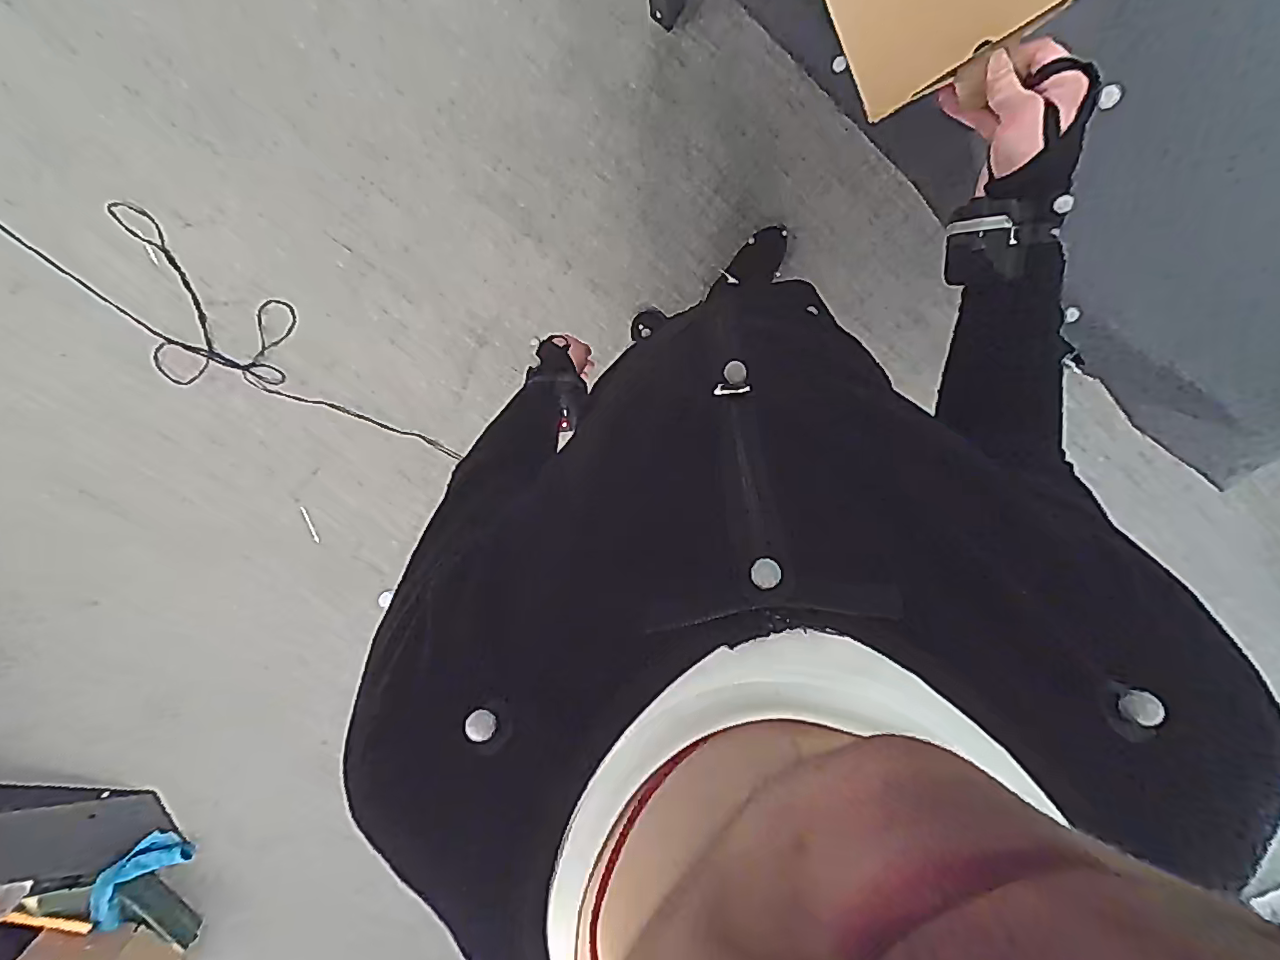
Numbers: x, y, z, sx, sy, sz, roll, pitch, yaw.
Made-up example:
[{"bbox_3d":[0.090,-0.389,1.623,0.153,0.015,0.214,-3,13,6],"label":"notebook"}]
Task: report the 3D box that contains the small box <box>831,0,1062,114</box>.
[{"bbox_3d":[0.231,-0.436,0.418,0.168,0.176,0.179,-20,123,34],"label":"small box"}]
